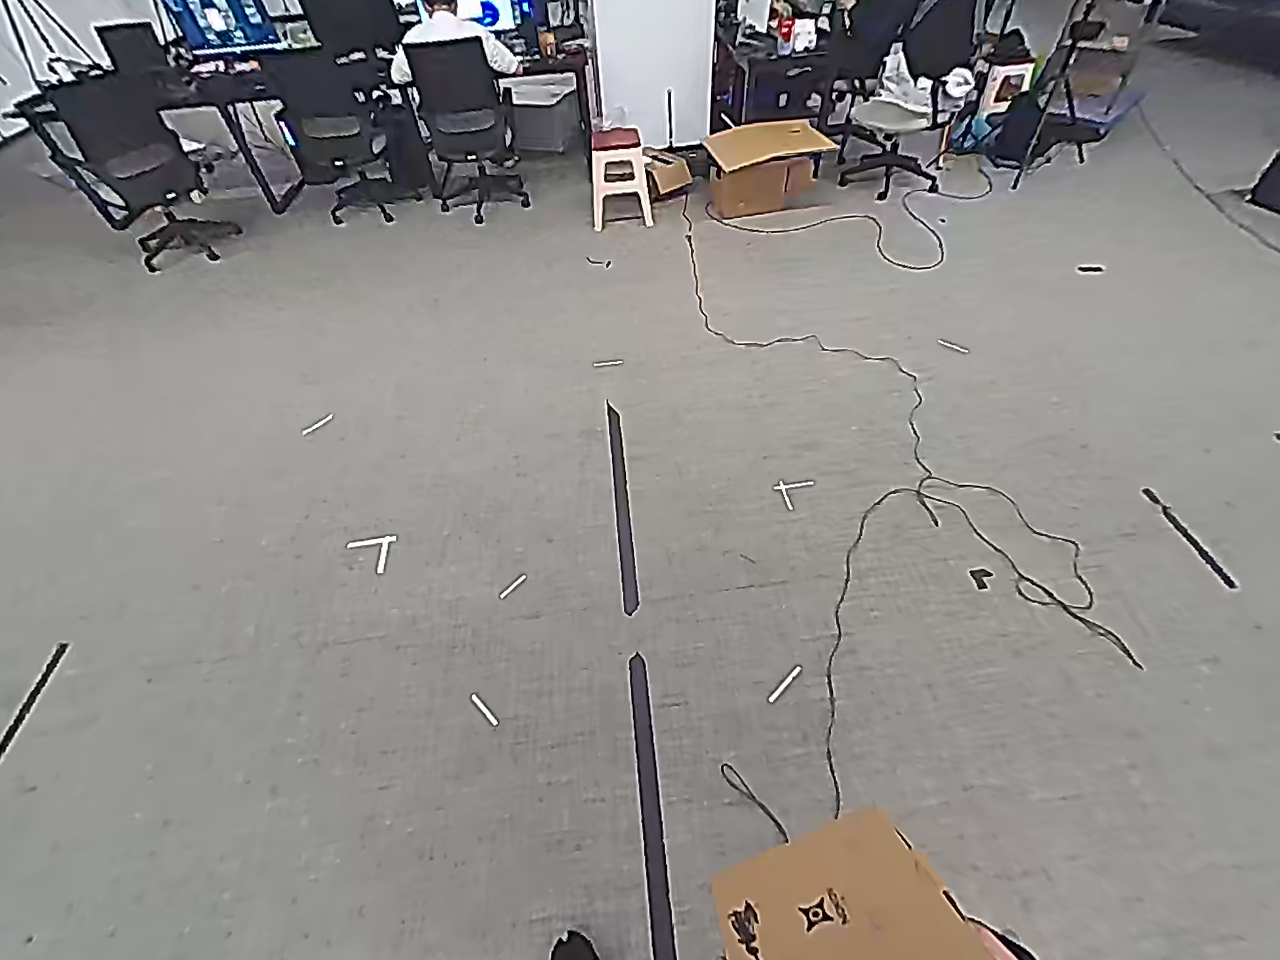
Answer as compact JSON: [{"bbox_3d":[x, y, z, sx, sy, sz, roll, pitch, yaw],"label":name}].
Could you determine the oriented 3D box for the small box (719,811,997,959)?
[{"bbox_3d":[0.186,0.425,0.439,0.179,0.168,0.176,-22,90,-1],"label":"small box"}]
